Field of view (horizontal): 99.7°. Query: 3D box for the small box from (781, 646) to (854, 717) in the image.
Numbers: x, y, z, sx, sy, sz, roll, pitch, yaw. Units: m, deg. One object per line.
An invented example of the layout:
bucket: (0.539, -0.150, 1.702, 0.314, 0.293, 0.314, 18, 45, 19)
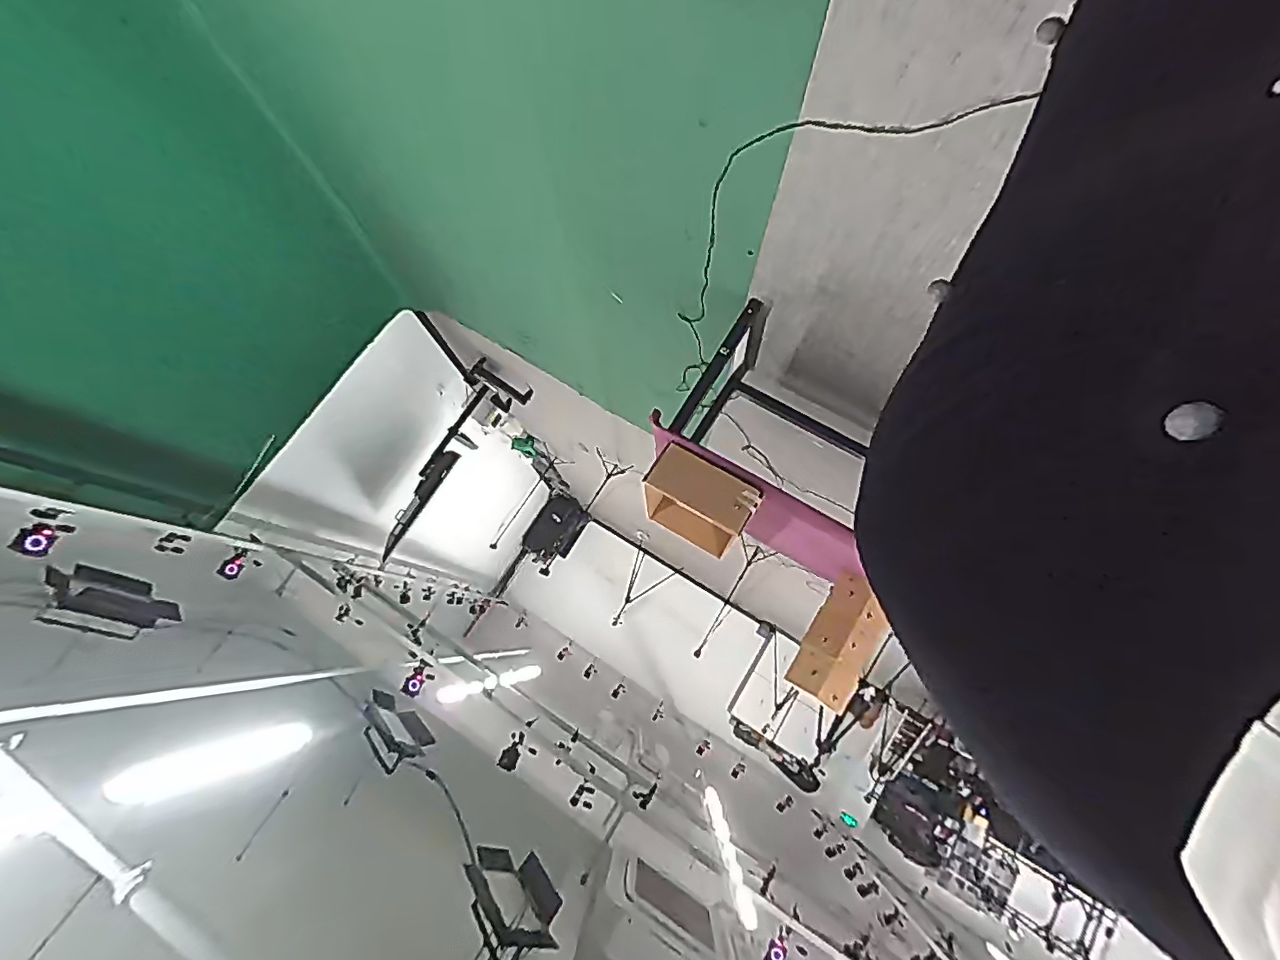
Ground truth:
small box: (0.684, 0.767, 2.075, 0.179, 0.176, 0.168, 41, 164, -28)

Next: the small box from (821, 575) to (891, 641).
small box: (0.859, 0.502, 2.144, 0.179, 0.176, 0.168, 41, 165, -30)

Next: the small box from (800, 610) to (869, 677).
small box: (0.767, 0.633, 2.112, 0.168, 0.176, 0.179, 43, 164, -30)
